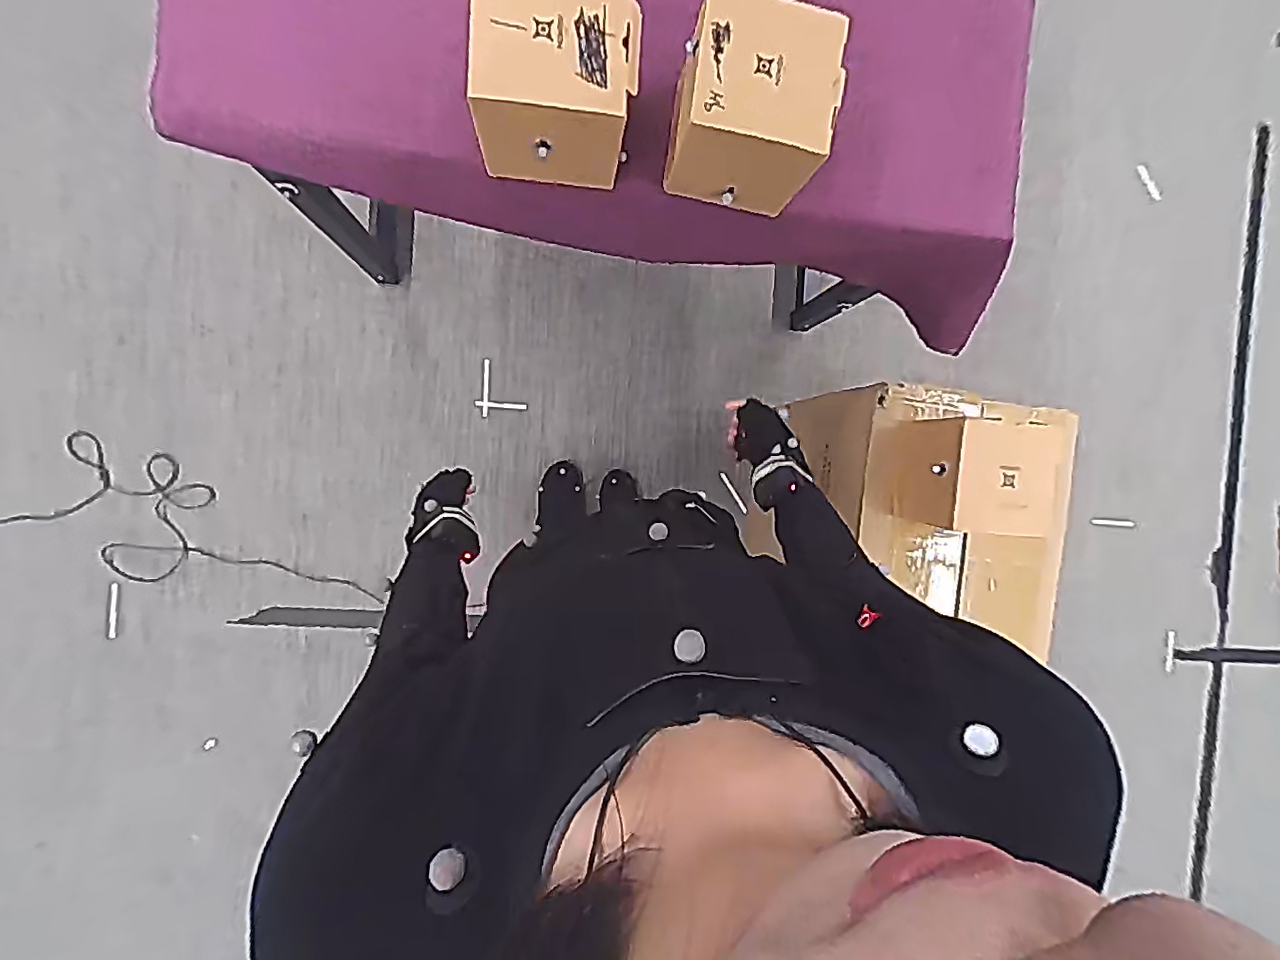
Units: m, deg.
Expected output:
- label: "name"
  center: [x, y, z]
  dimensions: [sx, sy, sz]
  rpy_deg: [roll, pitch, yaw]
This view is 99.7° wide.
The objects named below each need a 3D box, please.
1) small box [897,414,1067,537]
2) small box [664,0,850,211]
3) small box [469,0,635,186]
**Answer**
- label: "small box"
  center: [0.547, -0.009, 0.887]
  dimensions: [0.168, 0.176, 0.179]
  rpy_deg: [4, 93, -5]
- label: "small box"
  center: [0.143, -0.481, 0.710]
  dimensions: [0.179, 0.176, 0.168]
  rpy_deg: [8, 90, -9]
- label: "small box"
  center: [-0.106, -0.495, 0.674]
  dimensions: [0.179, 0.176, 0.168]
  rpy_deg: [3, 91, -7]
